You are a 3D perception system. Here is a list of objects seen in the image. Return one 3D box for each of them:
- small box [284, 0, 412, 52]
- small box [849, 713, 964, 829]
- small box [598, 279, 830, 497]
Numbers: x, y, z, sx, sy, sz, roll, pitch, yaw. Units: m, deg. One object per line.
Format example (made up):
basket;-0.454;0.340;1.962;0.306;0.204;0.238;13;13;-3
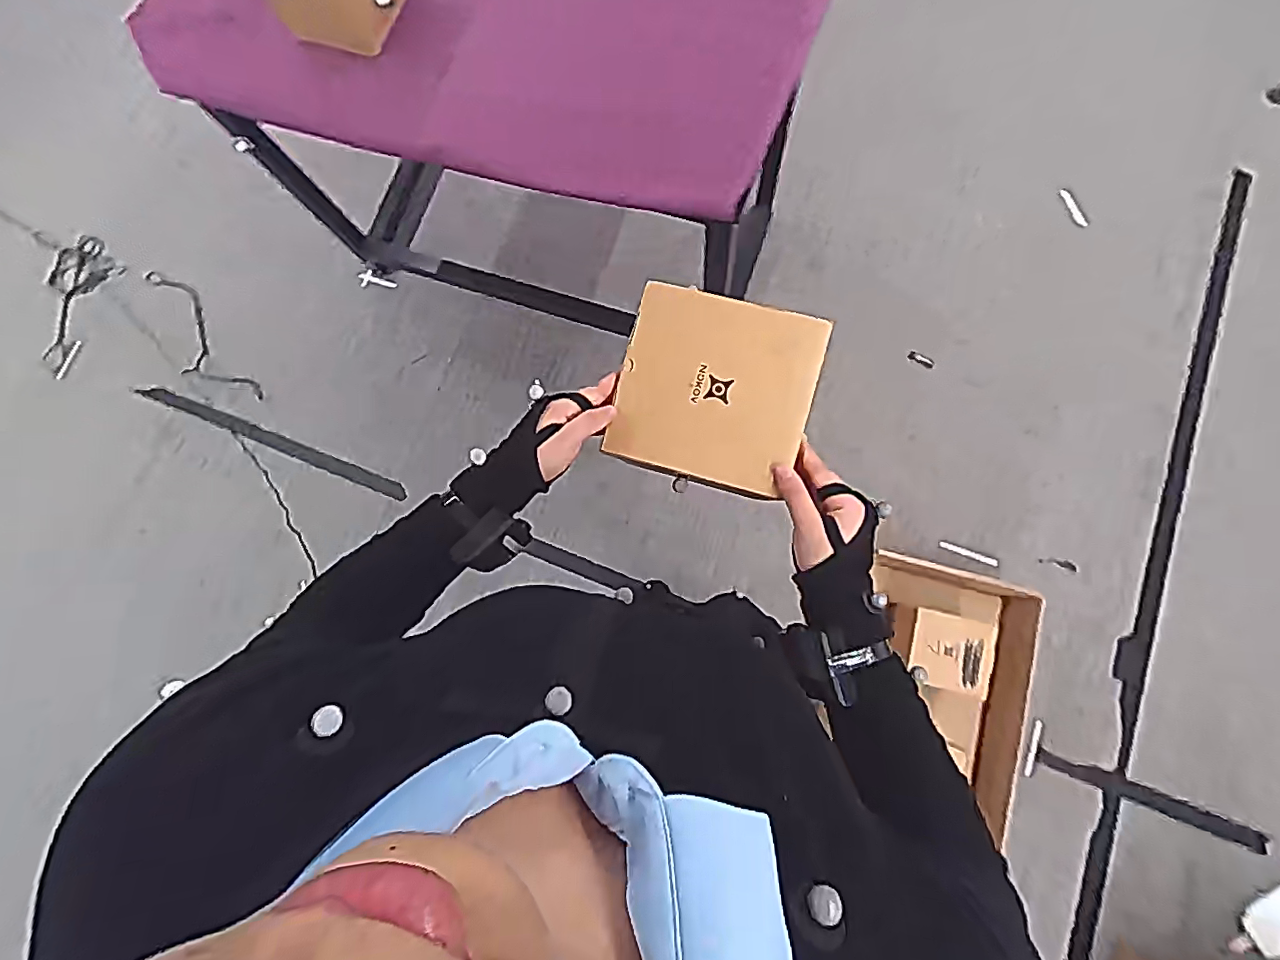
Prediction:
small box;-0.541;-0.908;0.952;0.179;0.176;0.168;20;82;8
small box;0.606;0.658;1.250;0.179;0.176;0.168;17;82;7
small box;0.075;-0.084;0.567;0.179;0.176;0.168;15;90;8
